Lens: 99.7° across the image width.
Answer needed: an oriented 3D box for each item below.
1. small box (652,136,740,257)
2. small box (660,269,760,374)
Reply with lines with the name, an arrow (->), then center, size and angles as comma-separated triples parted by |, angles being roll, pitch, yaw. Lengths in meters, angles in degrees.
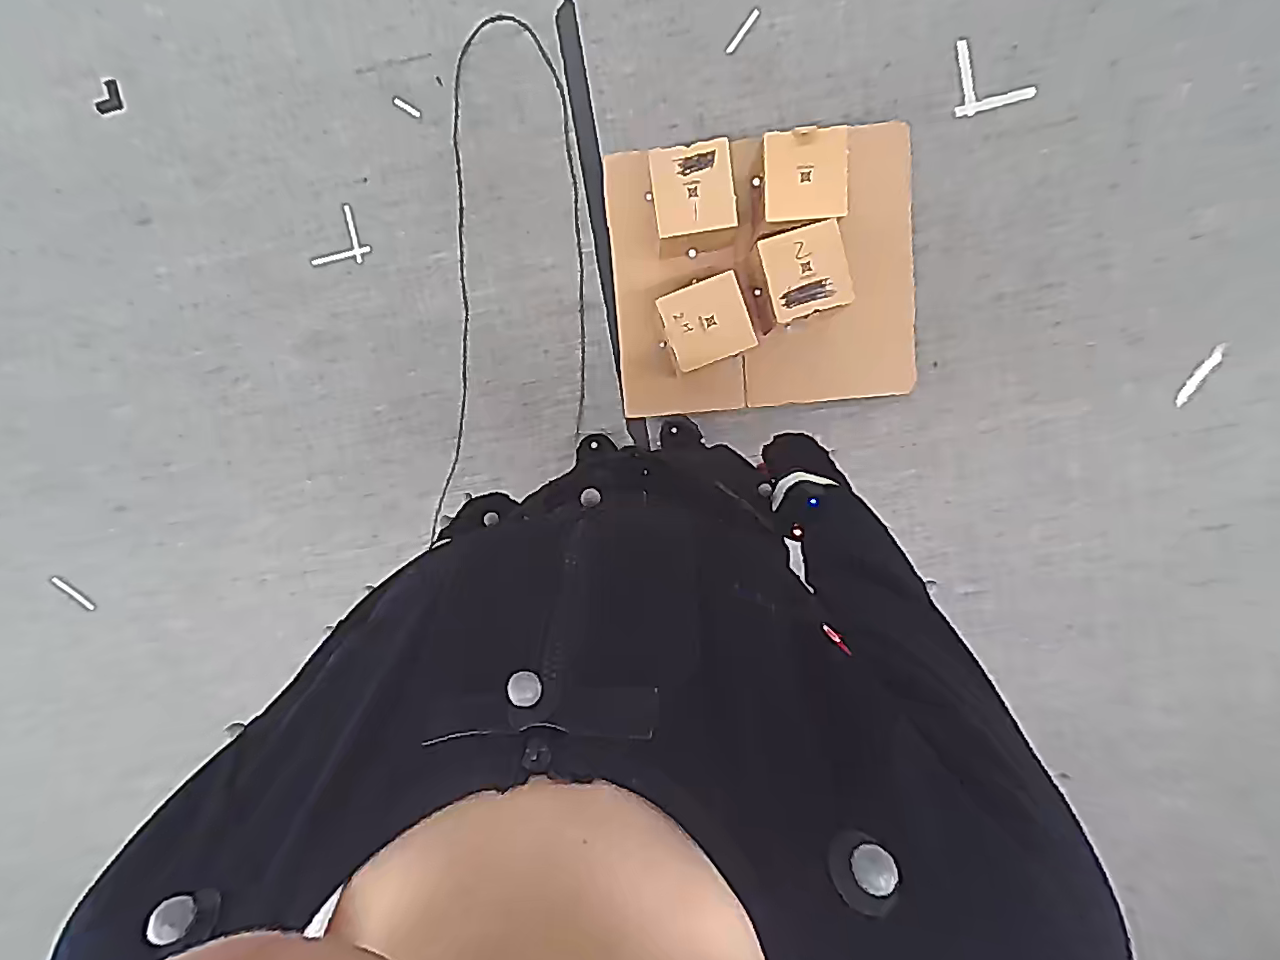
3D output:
small box -> 0.117, -0.611, 1.183 | 0.168, 0.176, 0.179 | -8, 98, 4
small box -> 0.149, -0.347, 1.215 | 0.179, 0.176, 0.168 | -19, 95, 5
